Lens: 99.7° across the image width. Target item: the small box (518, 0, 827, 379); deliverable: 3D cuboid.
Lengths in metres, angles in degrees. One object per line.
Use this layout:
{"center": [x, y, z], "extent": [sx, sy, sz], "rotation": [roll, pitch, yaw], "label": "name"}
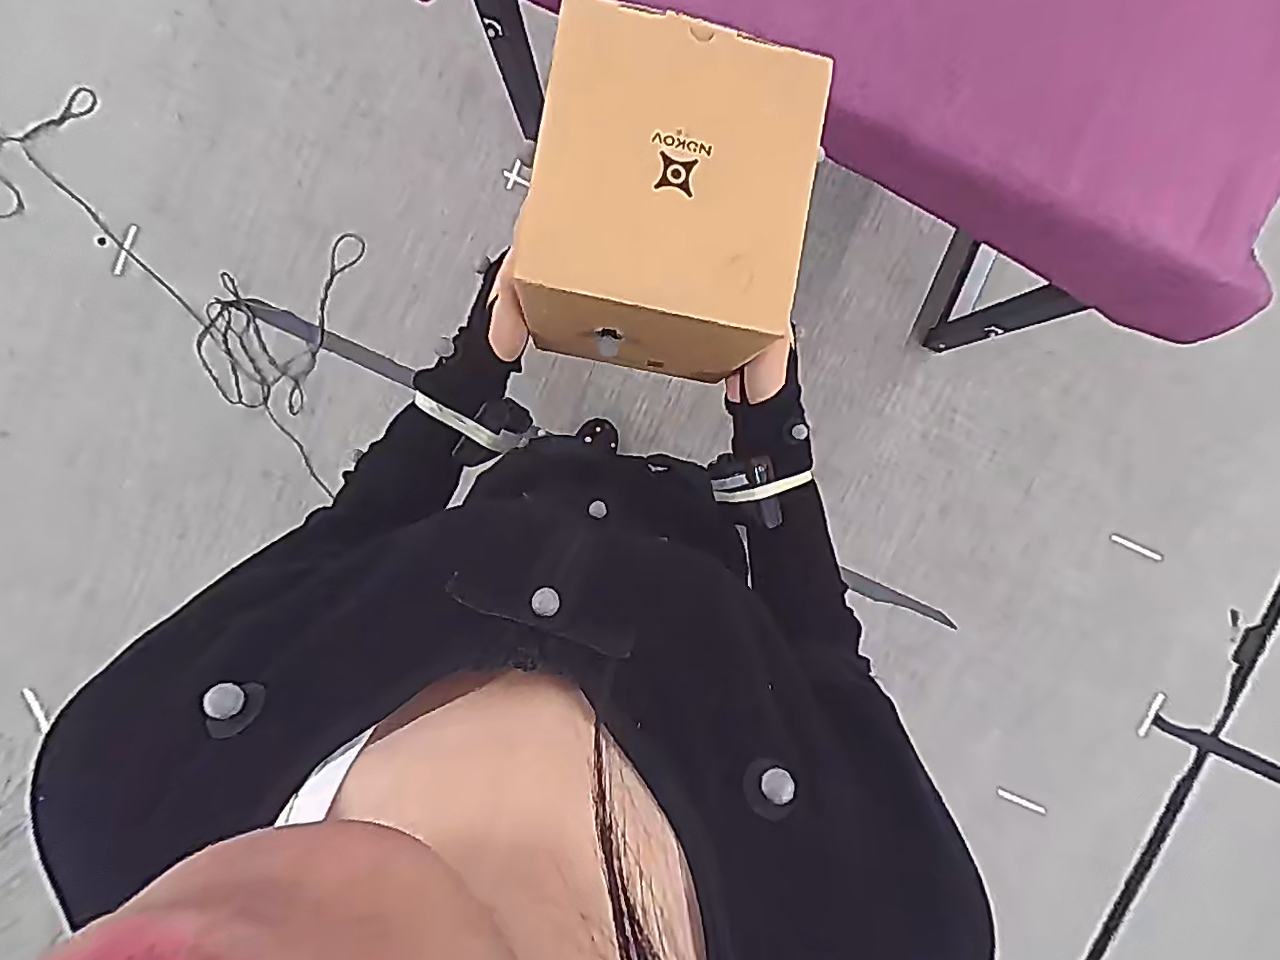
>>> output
{"center": [0.014, -0.185, 0.404], "extent": [0.168, 0.176, 0.179], "rotation": [10, 88, -6], "label": "small box"}
